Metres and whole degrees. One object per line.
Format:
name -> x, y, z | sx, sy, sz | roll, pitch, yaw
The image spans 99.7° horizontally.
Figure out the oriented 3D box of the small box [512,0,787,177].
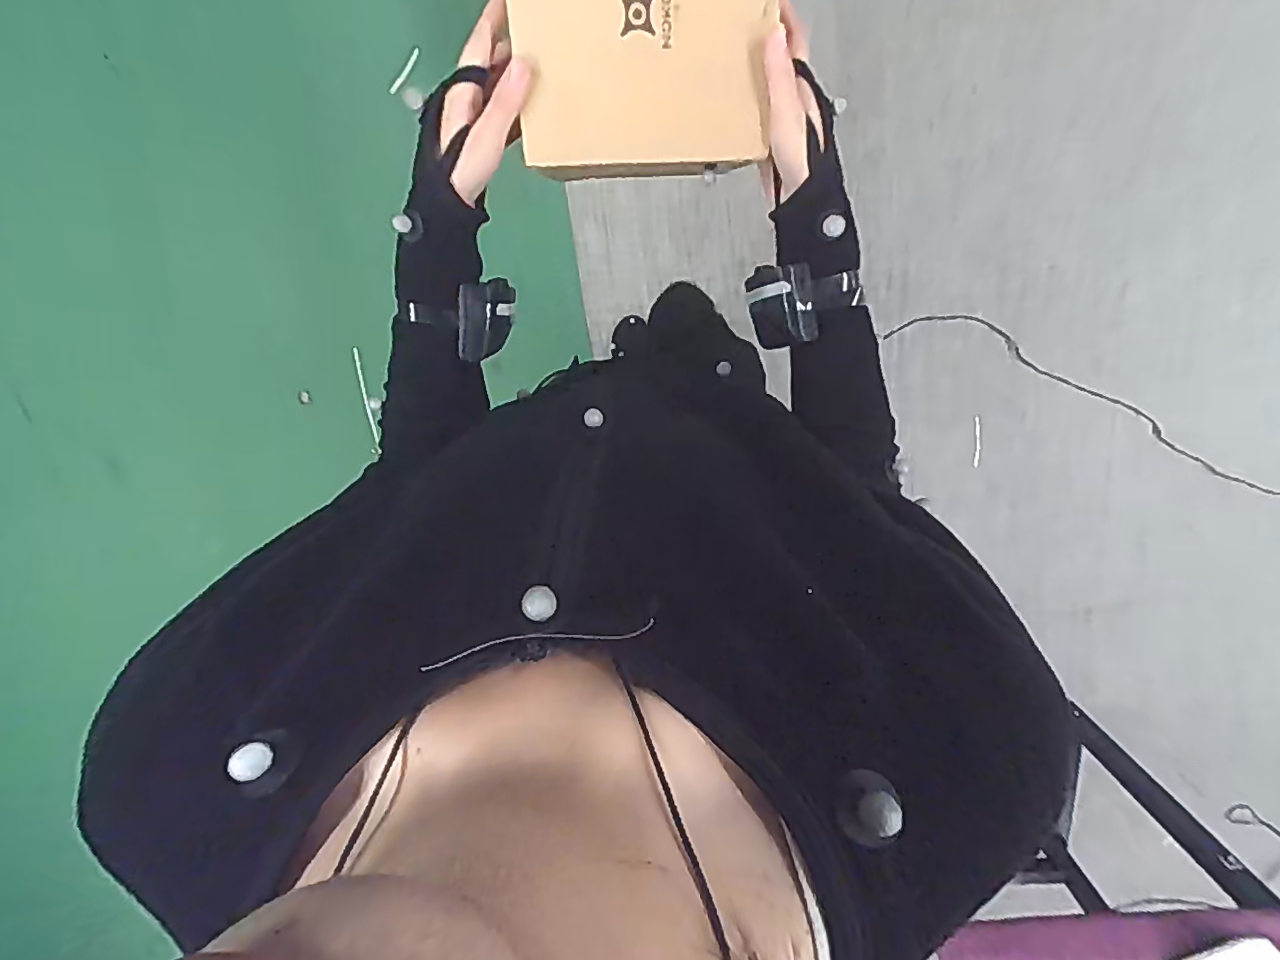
small box -> 0.001, -0.332, 0.410 | 0.179, 0.176, 0.168 | -4, 115, -3
